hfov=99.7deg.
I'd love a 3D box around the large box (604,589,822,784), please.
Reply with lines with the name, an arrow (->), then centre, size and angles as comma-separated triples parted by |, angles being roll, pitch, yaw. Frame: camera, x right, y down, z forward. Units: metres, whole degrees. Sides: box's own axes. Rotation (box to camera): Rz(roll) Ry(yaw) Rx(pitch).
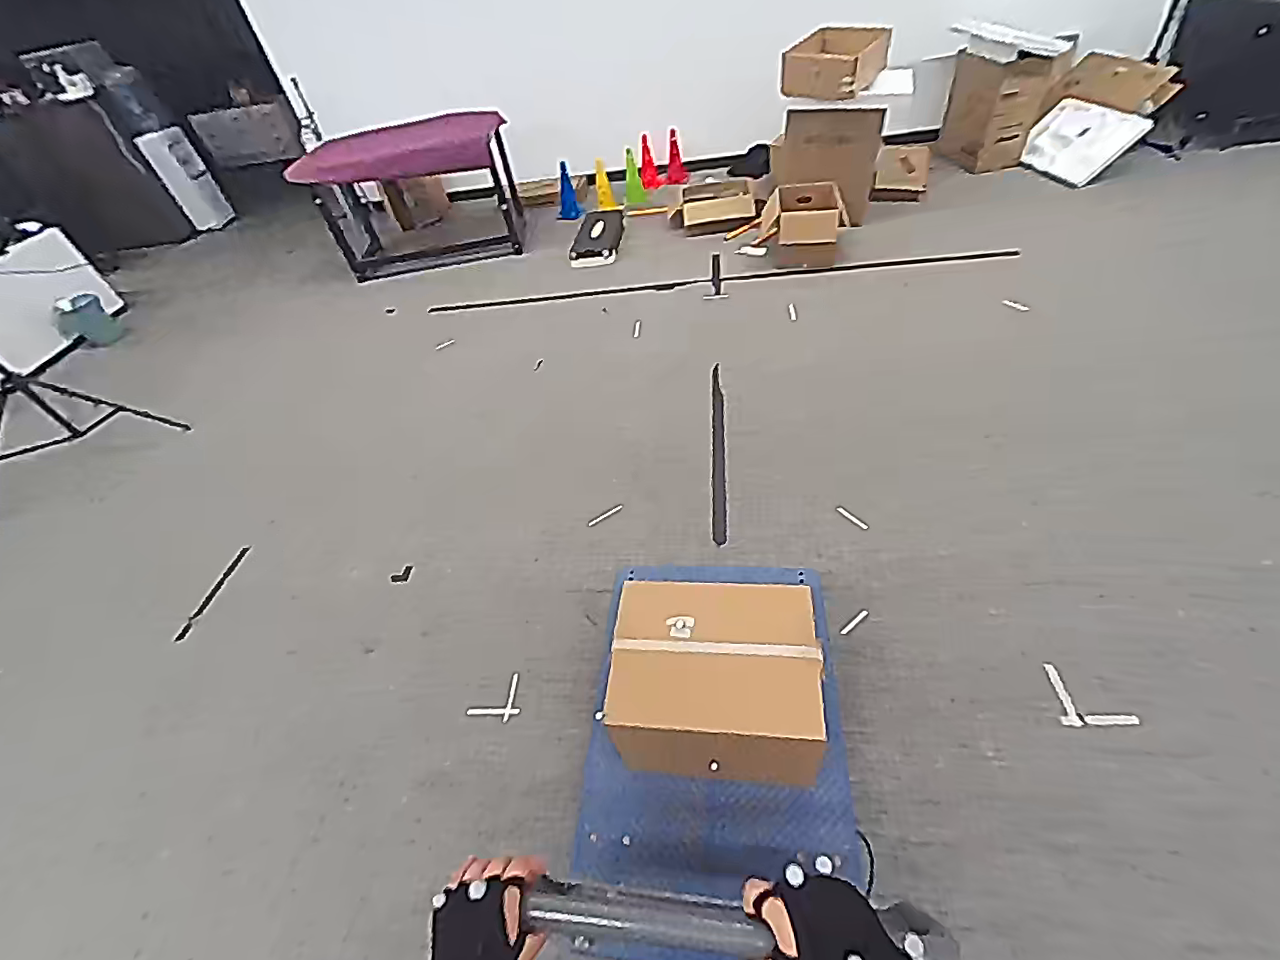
large box -> 0.165, 0.454, 1.191 | 0.408, 0.320, 0.320 | -2, 45, 11
